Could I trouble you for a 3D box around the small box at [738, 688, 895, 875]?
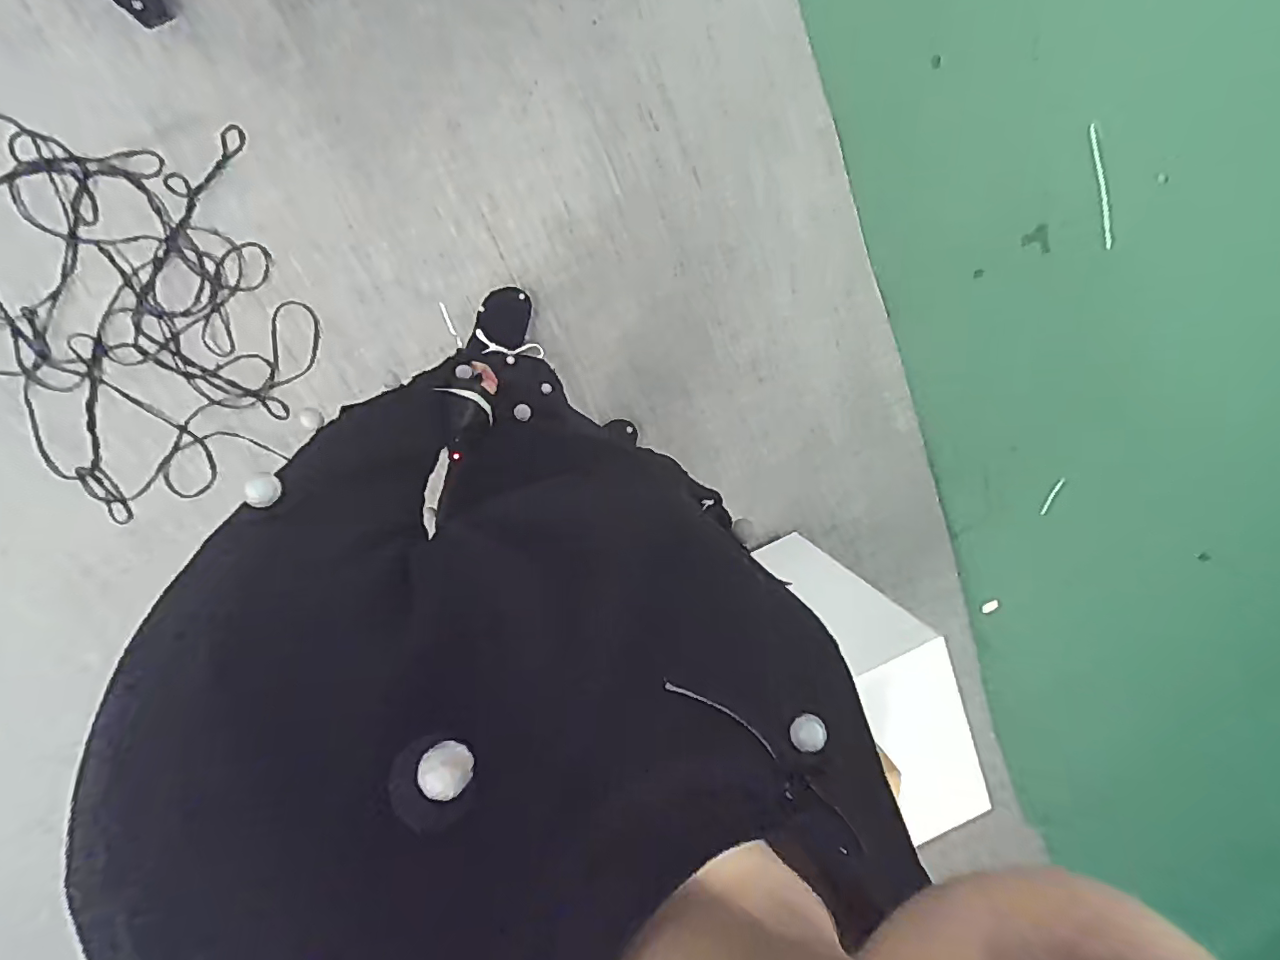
[{"bbox_3d":[0.255,0.448,0.823,0.168,0.176,0.179,-3,105,-9],"label":"small box"}]
